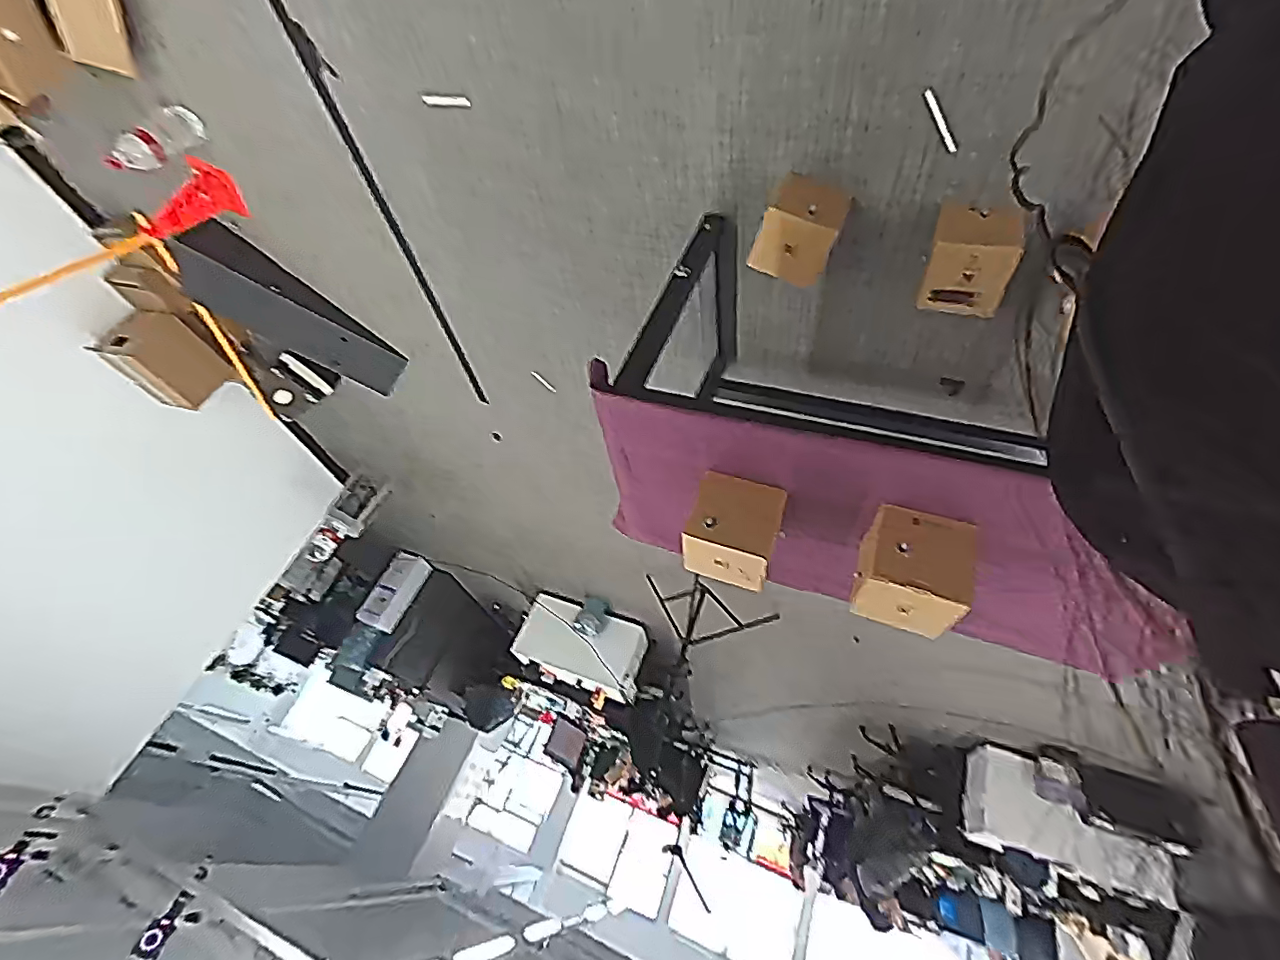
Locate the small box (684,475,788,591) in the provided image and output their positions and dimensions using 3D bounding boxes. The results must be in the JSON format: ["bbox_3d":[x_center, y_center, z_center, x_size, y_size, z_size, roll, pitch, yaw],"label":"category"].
[{"bbox_3d":[0.204,0.109,1.162,0.179,0.176,0.168,15,149,16],"label":"small box"}]

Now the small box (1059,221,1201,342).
[{"bbox_3d":[1.039,-0.430,1.167,0.168,0.176,0.179,15,149,17],"label":"small box"}]

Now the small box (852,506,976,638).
[{"bbox_3d":[0.522,0.173,1.035,0.168,0.176,0.179,16,151,17],"label":"small box"}]

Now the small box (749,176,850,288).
[{"bbox_3d":[0.396,-0.619,1.342,0.179,0.176,0.168,22,149,2],"label":"small box"}]
